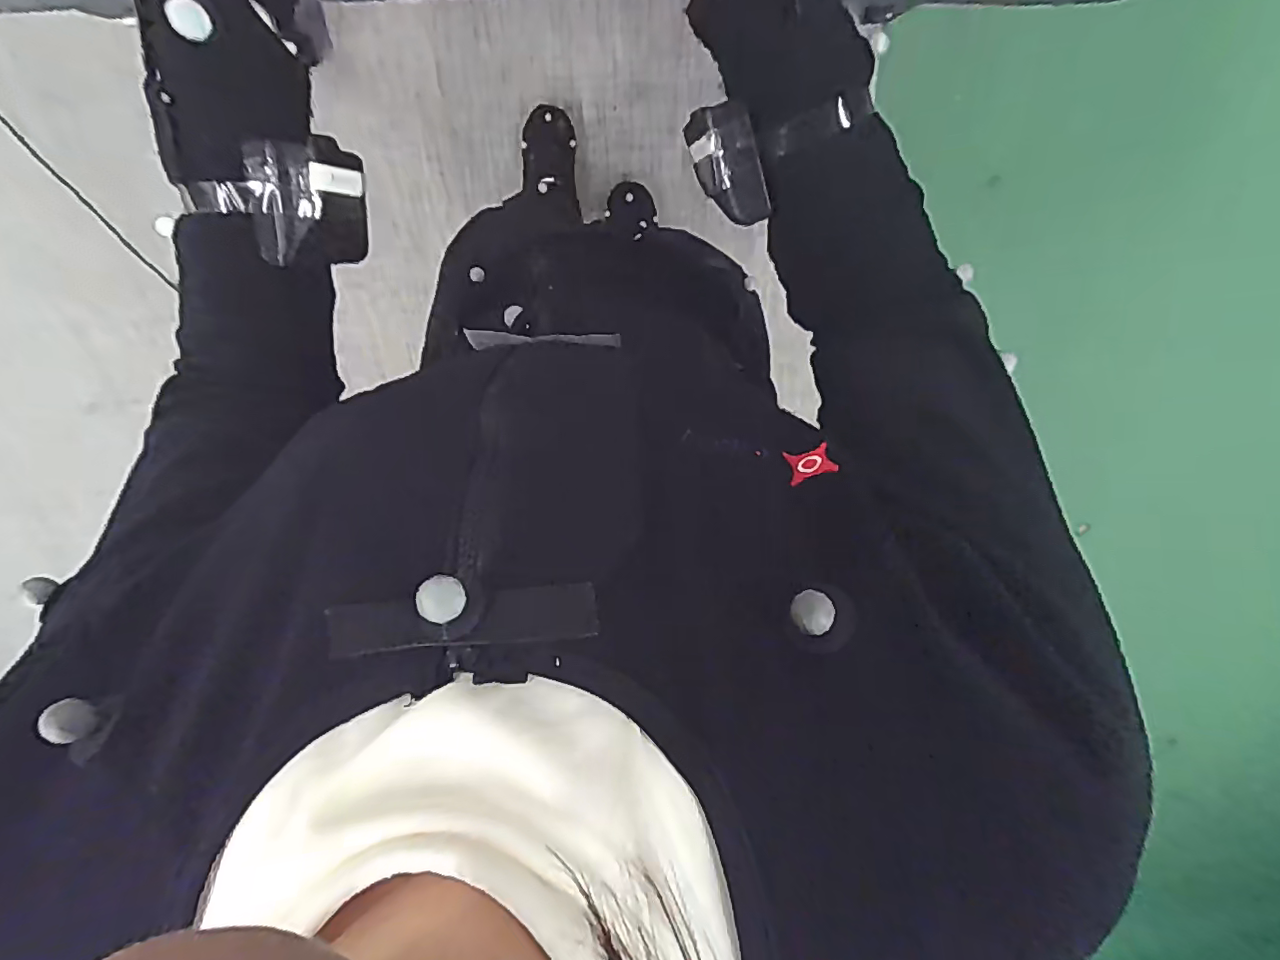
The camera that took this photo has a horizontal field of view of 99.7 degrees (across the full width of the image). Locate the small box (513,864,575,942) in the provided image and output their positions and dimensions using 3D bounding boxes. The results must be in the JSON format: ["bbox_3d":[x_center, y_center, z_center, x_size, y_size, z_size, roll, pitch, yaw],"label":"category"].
[{"bbox_3d":[-0.320,1.441,1.839,0.168,0.176,0.179,-8,121,2],"label":"small box"}]
